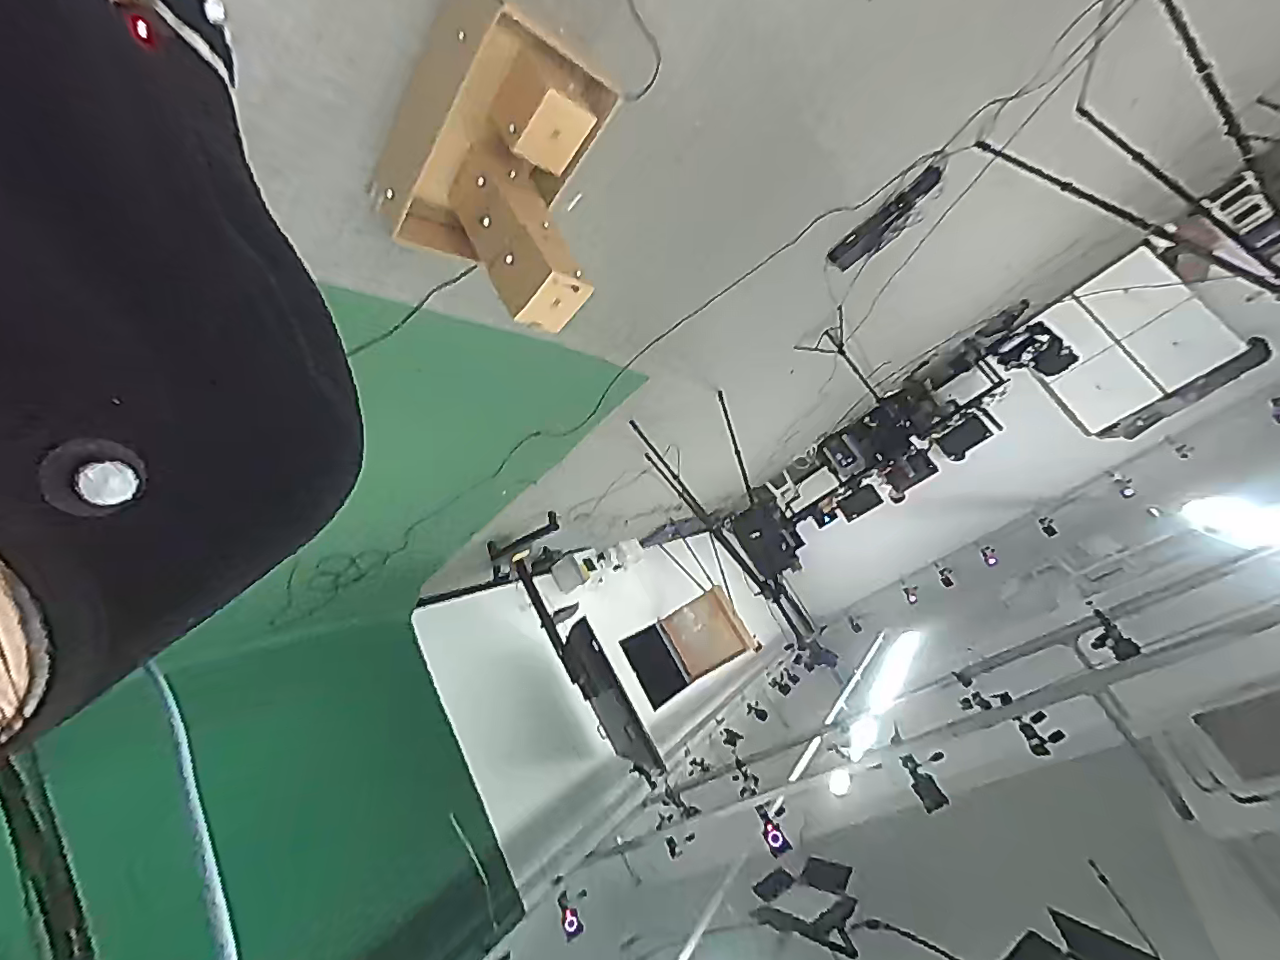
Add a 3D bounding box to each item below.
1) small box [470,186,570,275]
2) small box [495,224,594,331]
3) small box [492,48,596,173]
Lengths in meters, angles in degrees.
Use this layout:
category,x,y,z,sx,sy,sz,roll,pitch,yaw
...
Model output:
category,x,y,z,sx,sy,sz,roll,pitch,yaw
small box,-0.332,-0.669,1.491,0.168,0.176,0.179,-41,160,32
small box,-0.260,-0.531,1.432,0.179,0.176,0.168,-39,161,28
small box,-0.252,-0.945,1.389,0.179,0.176,0.168,-40,160,34
